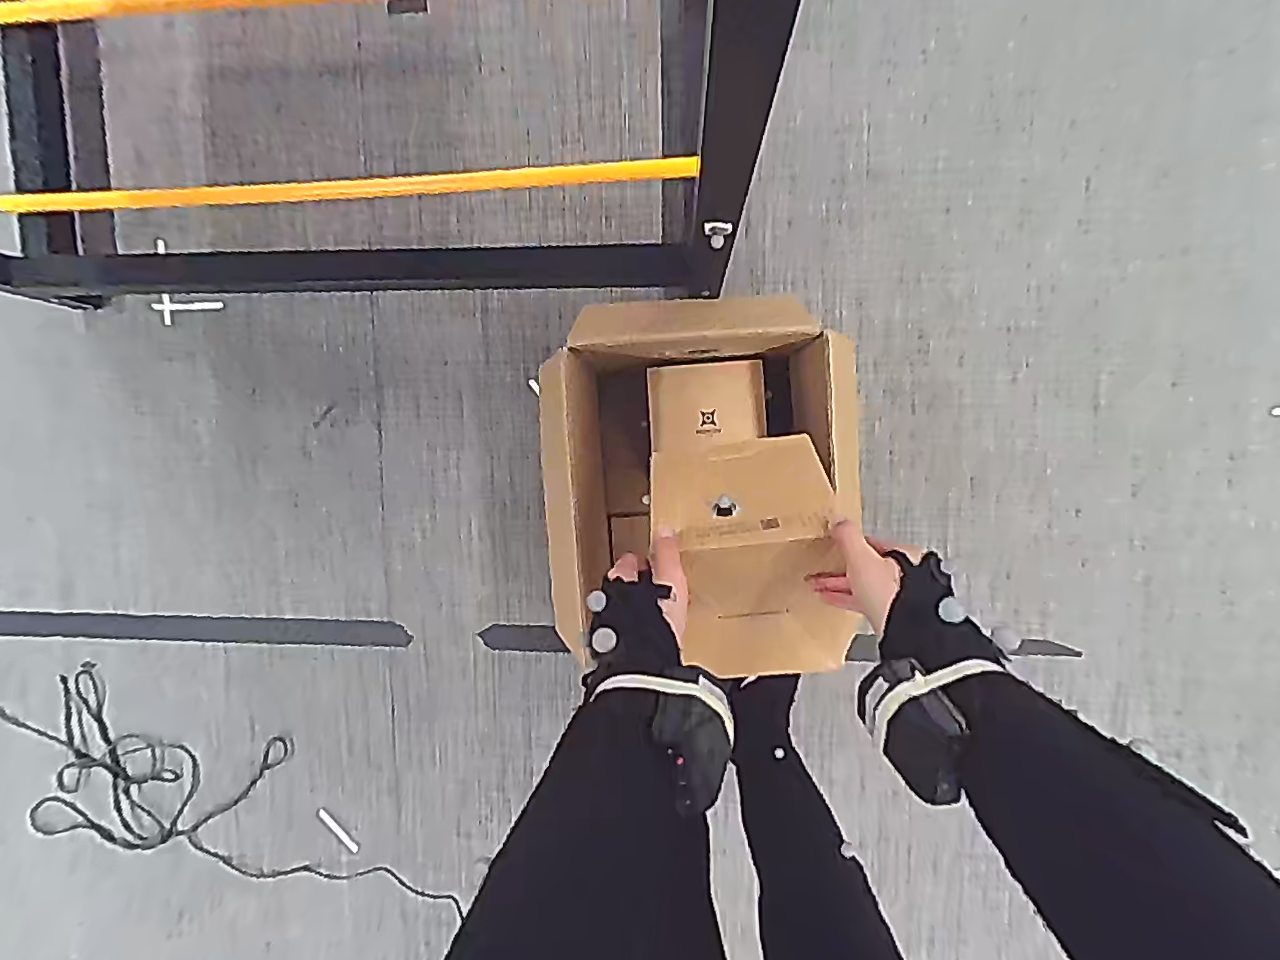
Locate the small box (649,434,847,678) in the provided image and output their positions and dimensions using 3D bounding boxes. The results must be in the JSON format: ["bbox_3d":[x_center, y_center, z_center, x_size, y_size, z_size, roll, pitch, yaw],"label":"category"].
[{"bbox_3d":[0.102,0.078,0.546,0.168,0.176,0.179,-7,125,7],"label":"small box"}]
